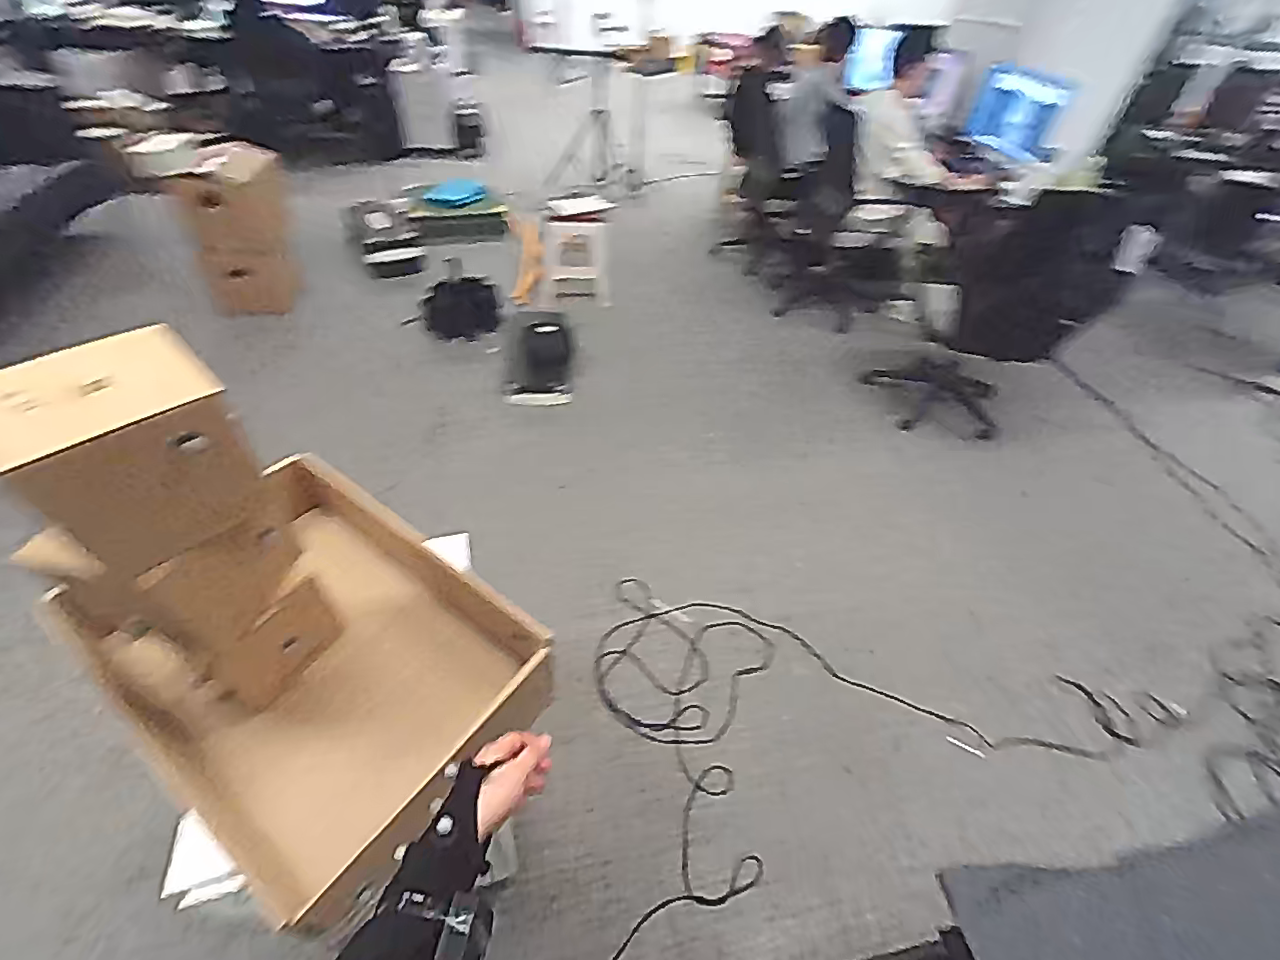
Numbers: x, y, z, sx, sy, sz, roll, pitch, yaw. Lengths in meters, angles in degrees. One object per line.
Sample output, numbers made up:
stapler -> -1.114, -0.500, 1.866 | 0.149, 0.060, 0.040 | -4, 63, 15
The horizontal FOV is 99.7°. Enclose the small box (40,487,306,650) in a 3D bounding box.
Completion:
small box -> -0.577, 0.093, 0.707 | 0.168, 0.176, 0.179 | 11, 48, 5

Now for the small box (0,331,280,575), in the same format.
small box -> -0.540, -0.032, 0.601 | 0.168, 0.176, 0.179 | 34, 53, 25
